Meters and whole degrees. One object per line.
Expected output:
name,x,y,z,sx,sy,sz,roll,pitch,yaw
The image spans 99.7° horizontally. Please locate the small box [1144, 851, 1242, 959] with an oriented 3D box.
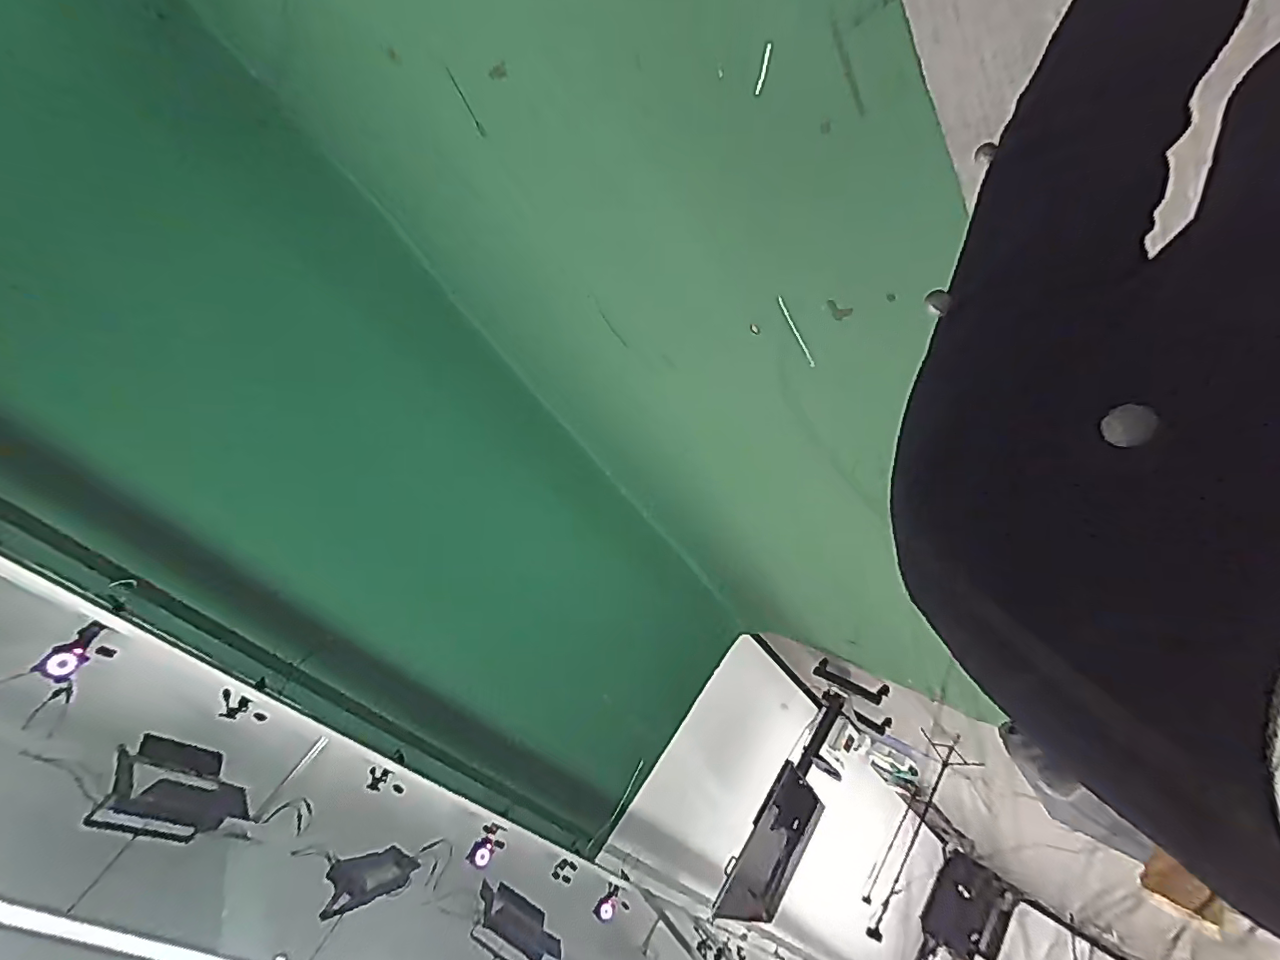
small box,1.564,1.199,1.529,0.168,0.176,0.179,9,146,54
